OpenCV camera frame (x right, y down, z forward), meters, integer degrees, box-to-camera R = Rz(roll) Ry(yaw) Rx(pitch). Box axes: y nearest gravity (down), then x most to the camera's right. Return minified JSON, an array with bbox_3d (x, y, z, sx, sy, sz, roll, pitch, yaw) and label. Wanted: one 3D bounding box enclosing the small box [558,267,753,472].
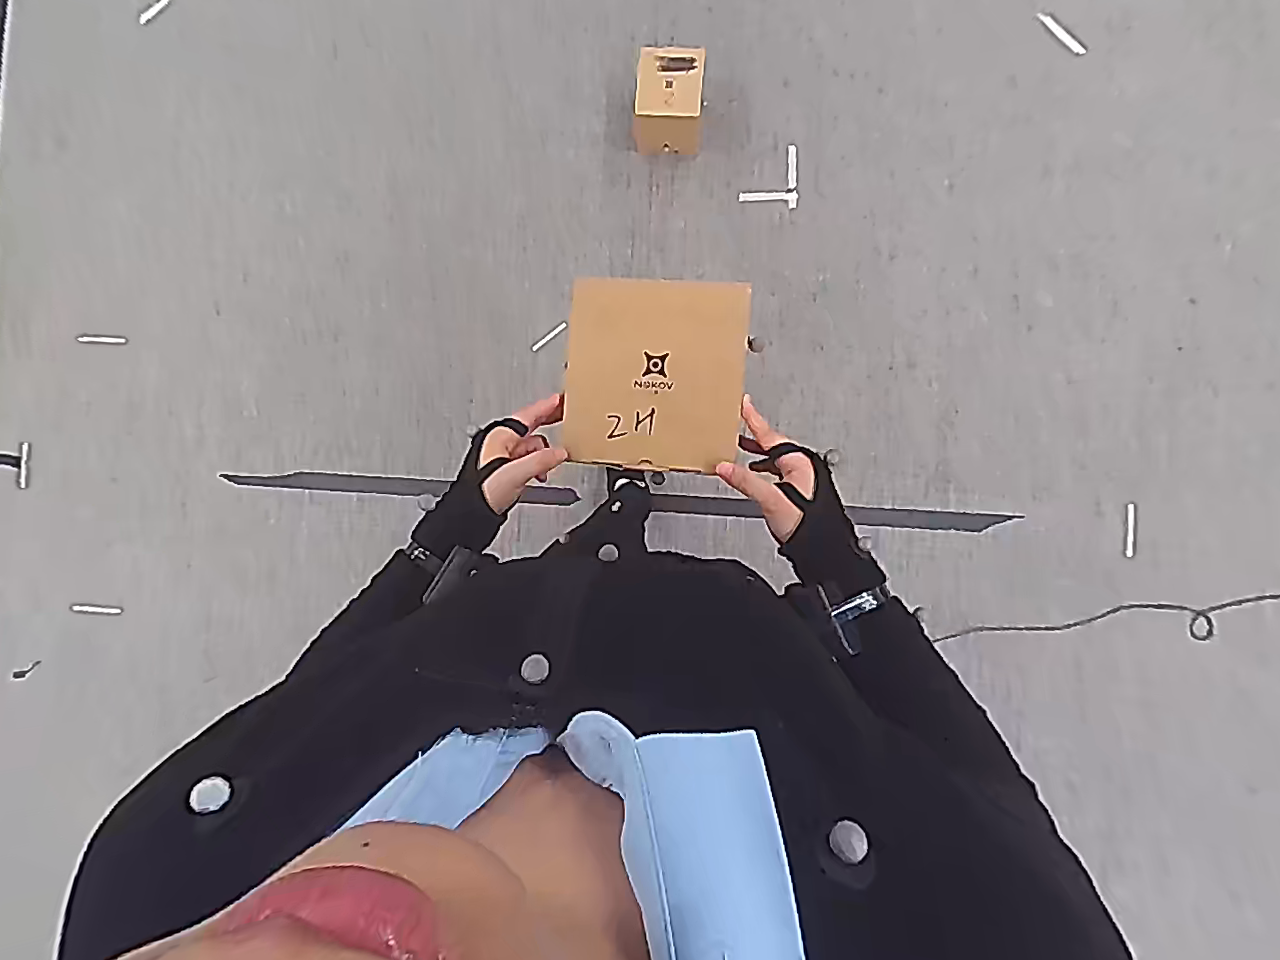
[{"bbox_3d":[0.023,-0.104,0.569,0.168,0.176,0.179,5,91,9],"label":"small box"}]
